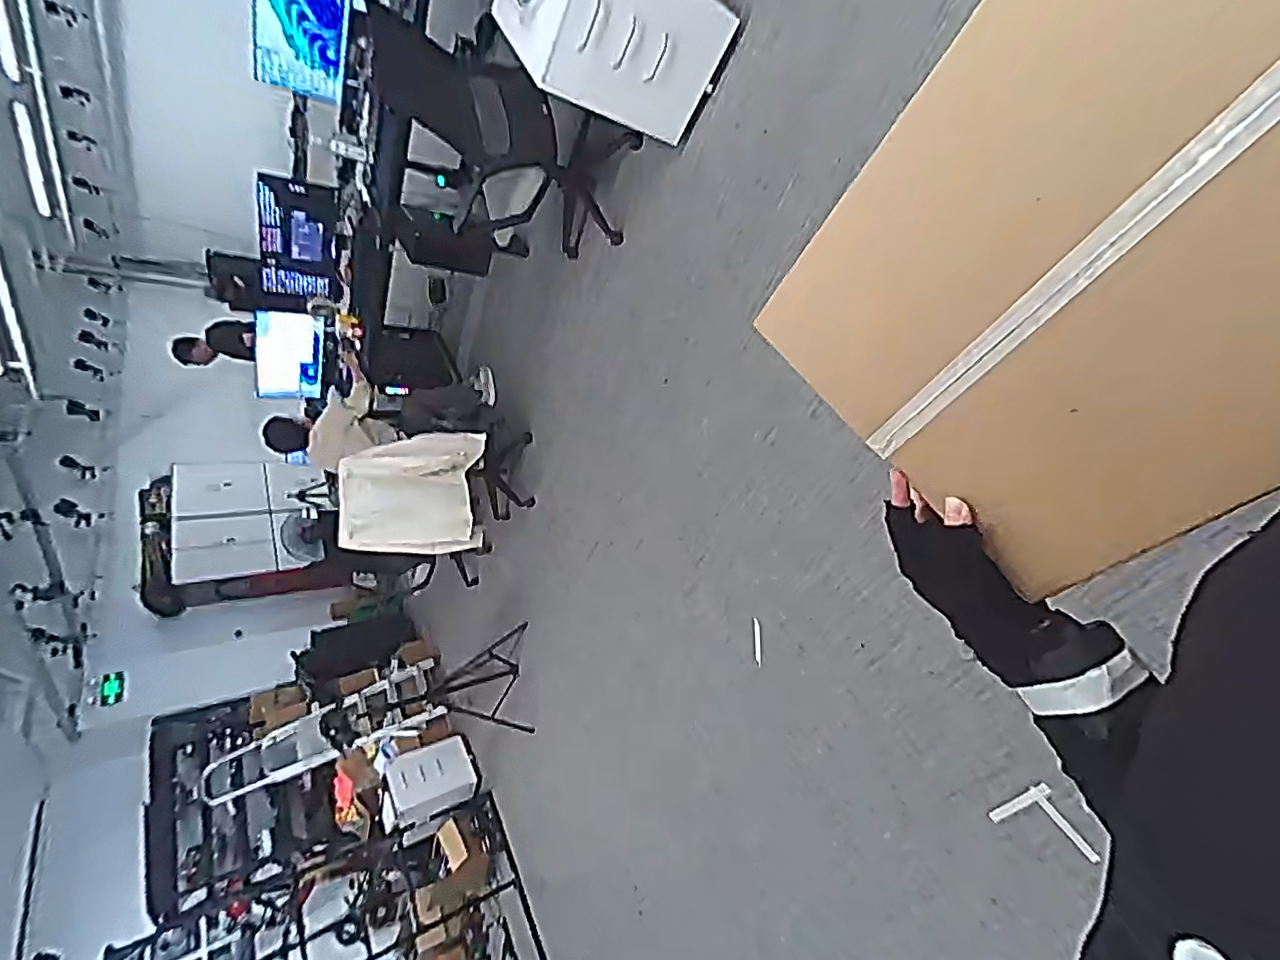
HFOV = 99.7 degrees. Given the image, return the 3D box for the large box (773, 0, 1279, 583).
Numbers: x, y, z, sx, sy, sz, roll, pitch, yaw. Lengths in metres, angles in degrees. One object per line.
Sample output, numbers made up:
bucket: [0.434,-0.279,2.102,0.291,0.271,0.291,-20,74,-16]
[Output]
large box: [0.390,-0.192,0.416,0.320,0.320,0.408,52,136,17]
